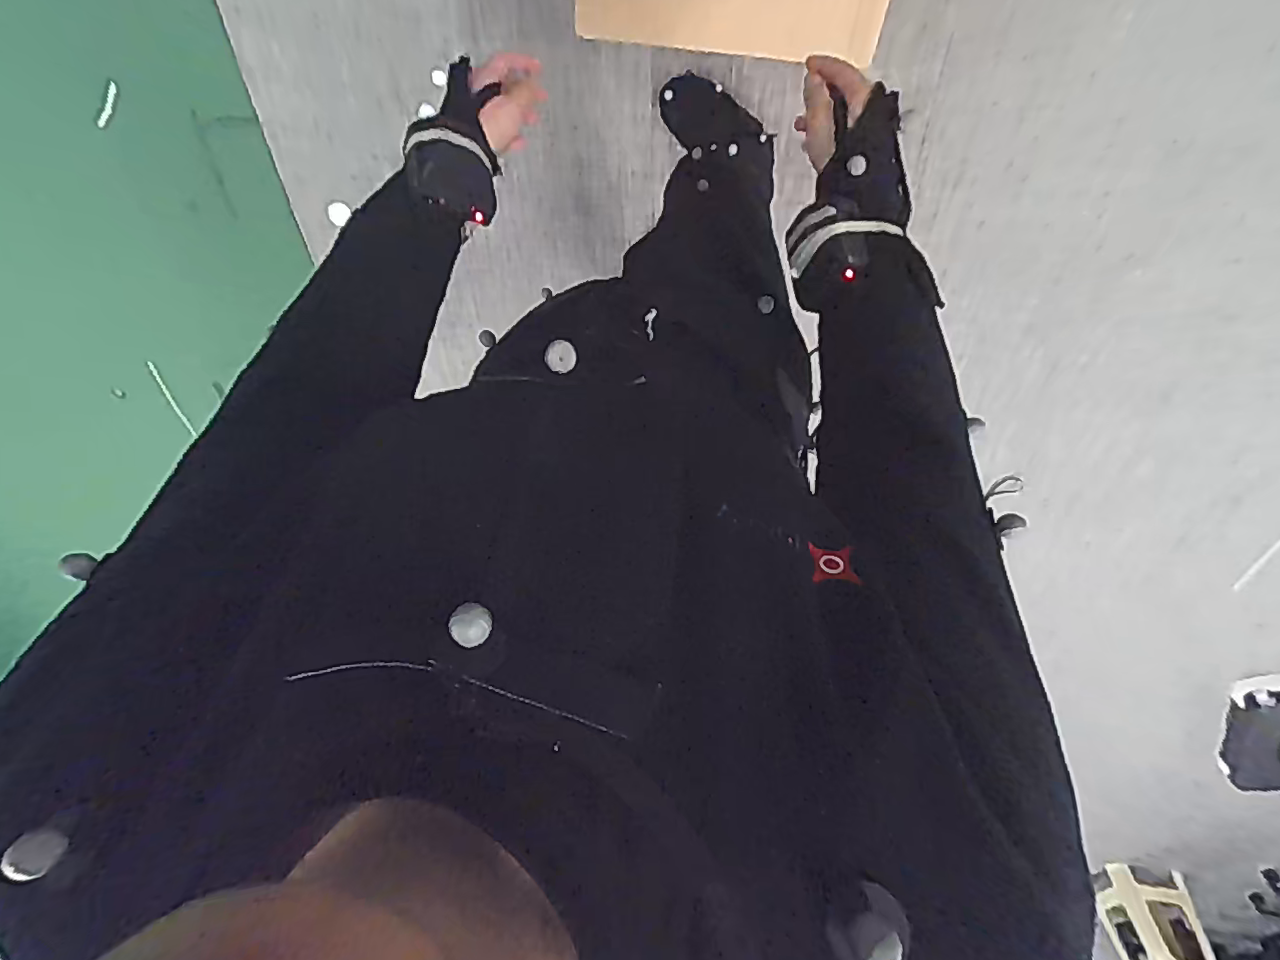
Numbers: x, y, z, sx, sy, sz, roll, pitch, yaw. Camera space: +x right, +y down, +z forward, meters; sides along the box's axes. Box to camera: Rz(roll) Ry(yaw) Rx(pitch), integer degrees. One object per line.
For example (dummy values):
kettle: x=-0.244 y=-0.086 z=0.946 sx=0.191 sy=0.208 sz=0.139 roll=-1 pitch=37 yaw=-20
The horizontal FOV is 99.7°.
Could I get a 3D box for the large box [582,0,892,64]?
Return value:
large box: x=0.142 y=-0.788 z=0.745 sx=0.408 sy=0.320 sz=0.320 roll=7 pitch=131 yaw=2
